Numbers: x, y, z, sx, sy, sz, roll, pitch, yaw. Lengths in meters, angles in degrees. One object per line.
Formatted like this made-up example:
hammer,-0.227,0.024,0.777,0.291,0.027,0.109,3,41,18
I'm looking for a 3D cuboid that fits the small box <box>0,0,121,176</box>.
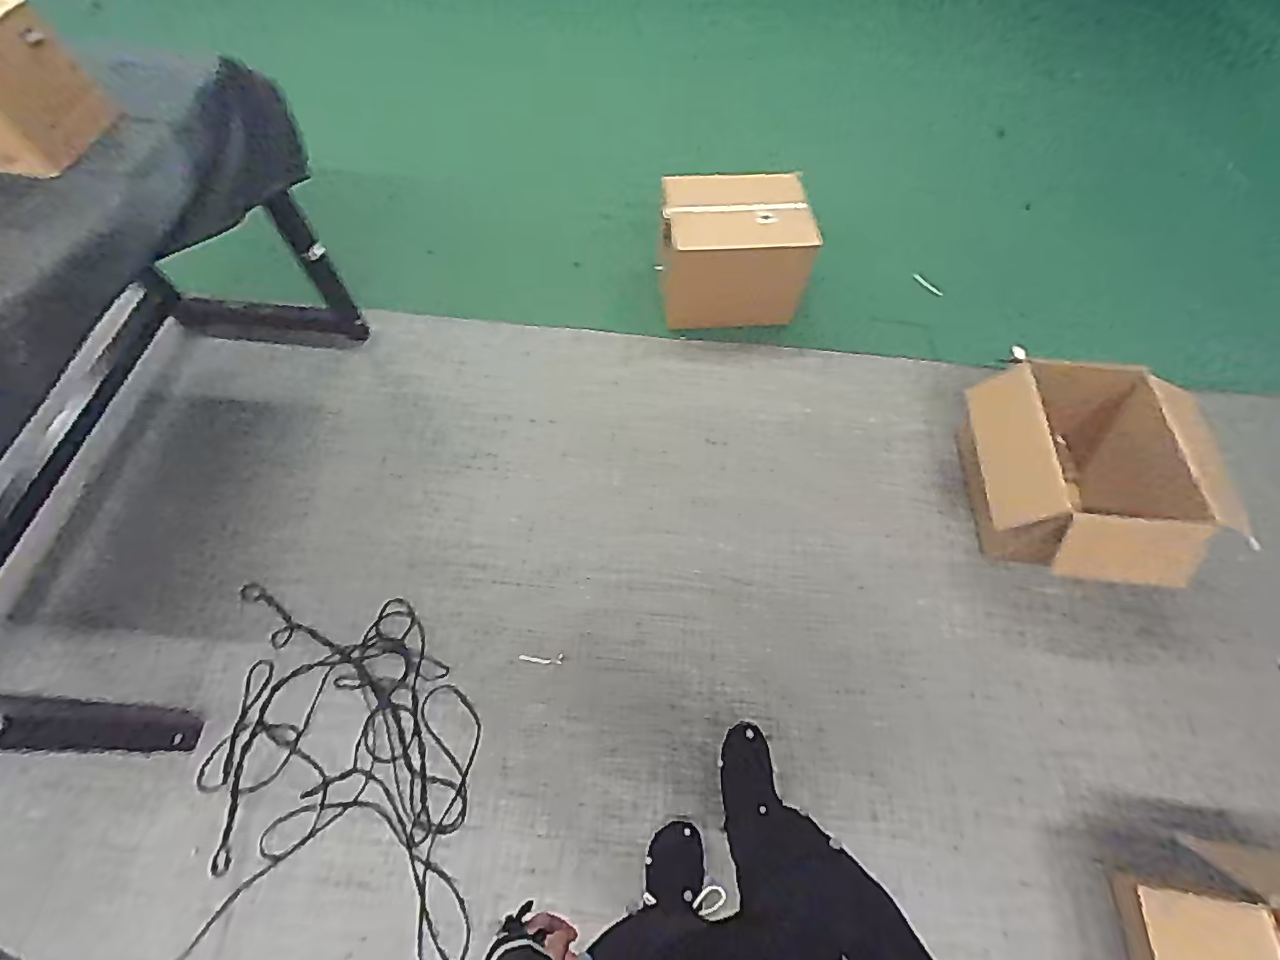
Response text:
small box,-0.969,-0.595,0.823,0.168,0.176,0.179,7,62,2
